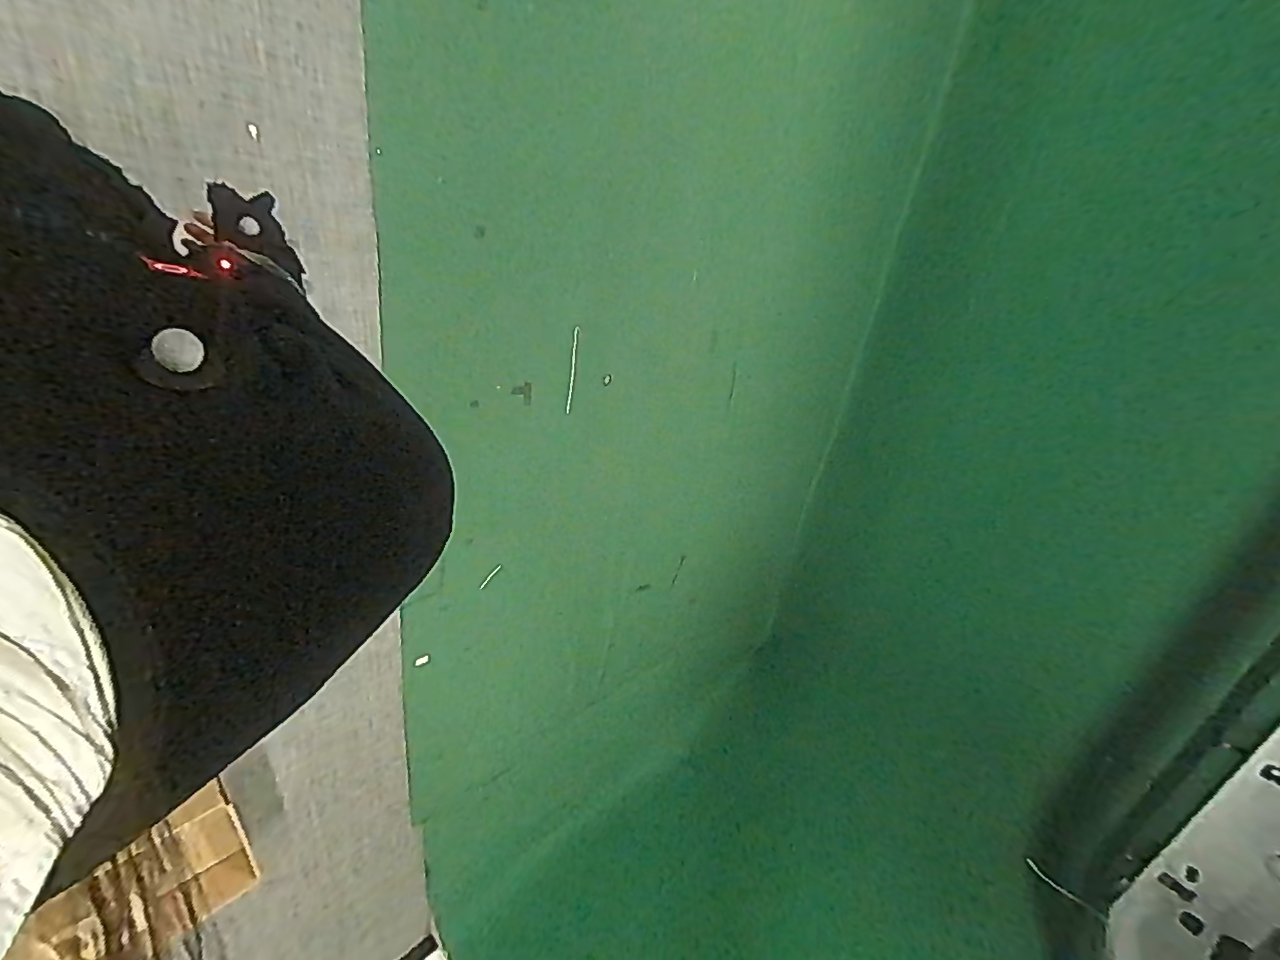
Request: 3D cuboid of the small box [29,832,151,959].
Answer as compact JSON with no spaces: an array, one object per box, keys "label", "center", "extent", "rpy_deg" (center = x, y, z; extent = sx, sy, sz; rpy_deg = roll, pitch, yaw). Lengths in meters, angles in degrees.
[{"label":"small box","center":[-1.360,1.033,1.337],"extent":[0.179,0.176,0.168],"rpy_deg":[-22,131,-44]}]
